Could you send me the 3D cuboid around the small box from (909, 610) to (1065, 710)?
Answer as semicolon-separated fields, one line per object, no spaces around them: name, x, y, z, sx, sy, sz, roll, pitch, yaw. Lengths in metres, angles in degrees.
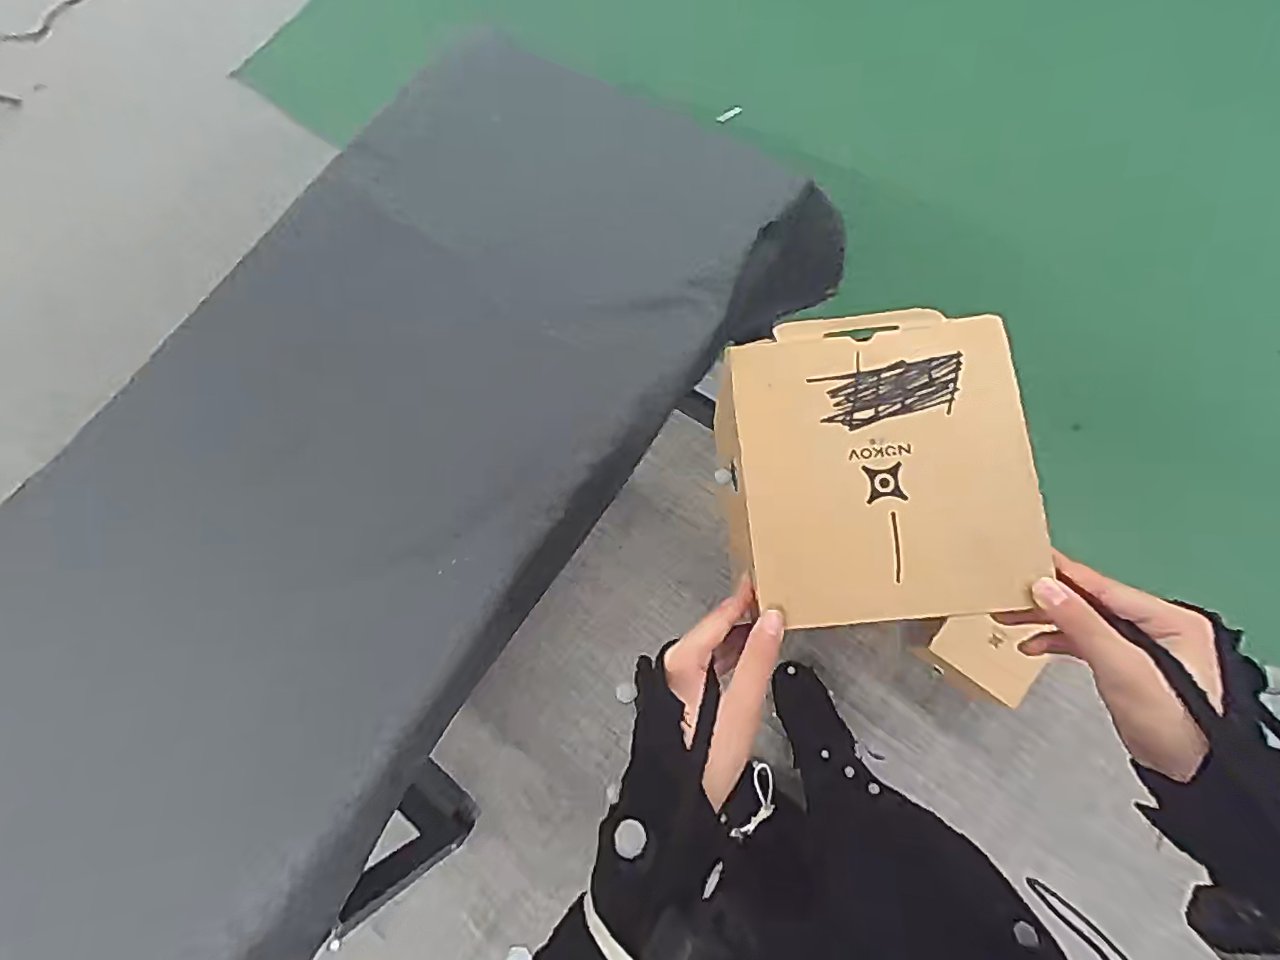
small box;0.656;0.311;1.048;0.168;0.176;0.179;36;84;18

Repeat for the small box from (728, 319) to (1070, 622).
small box;0.159;0.006;0.398;0.168;0.176;0.179;-5;80;5
